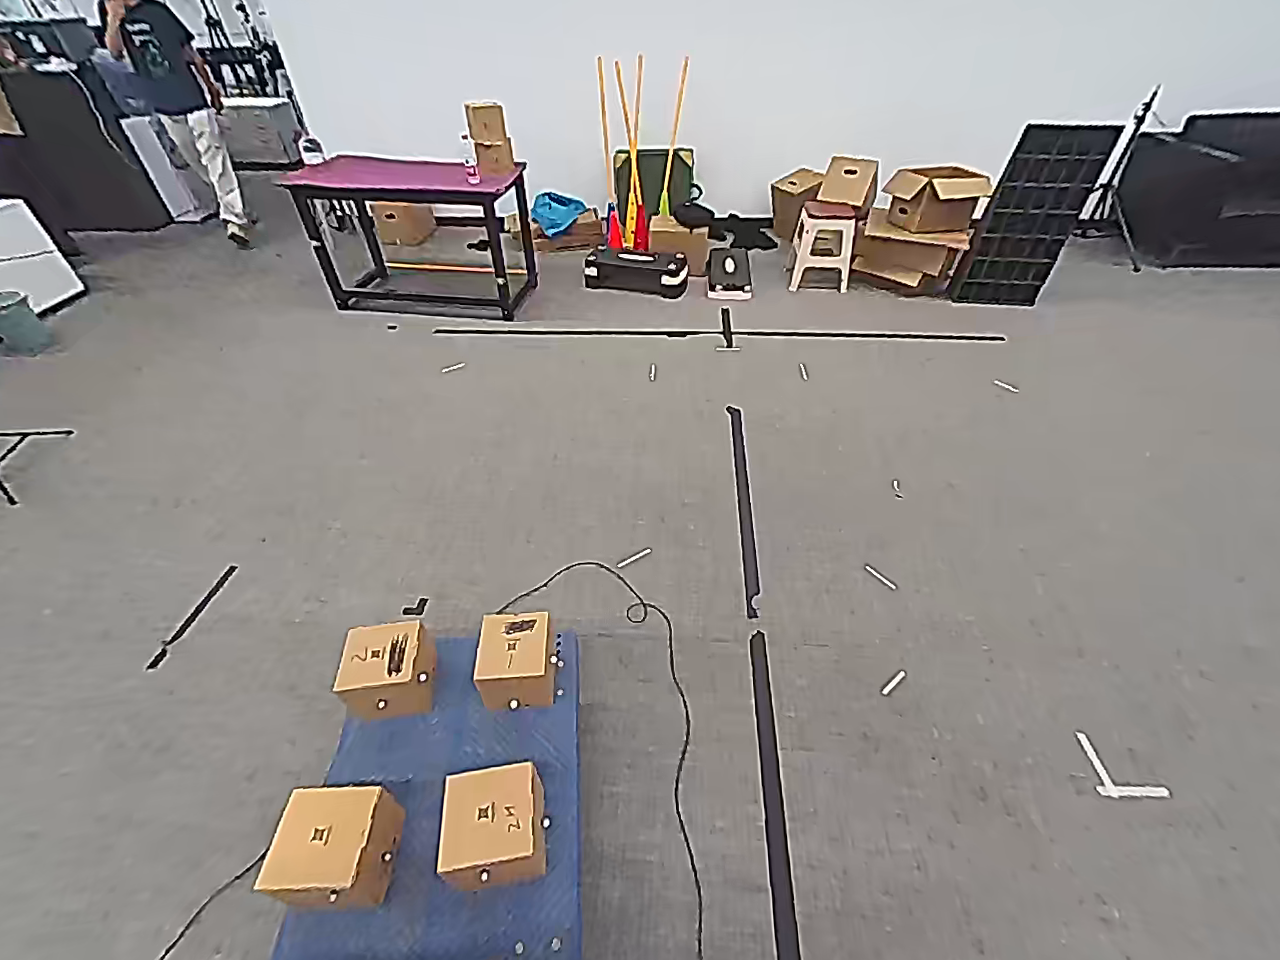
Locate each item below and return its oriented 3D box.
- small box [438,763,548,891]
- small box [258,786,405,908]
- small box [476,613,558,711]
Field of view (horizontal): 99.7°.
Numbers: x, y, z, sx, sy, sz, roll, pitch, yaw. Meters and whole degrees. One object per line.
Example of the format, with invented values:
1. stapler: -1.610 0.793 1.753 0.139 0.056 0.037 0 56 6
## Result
1. small box: -0.286 0.701 1.089 0.179 0.176 0.168 -7 43 -6
2. small box: -0.594 0.727 1.068 0.179 0.176 0.168 -1 42 -2
3. small box: -0.300 0.456 1.359 0.168 0.176 0.179 -3 43 -2
